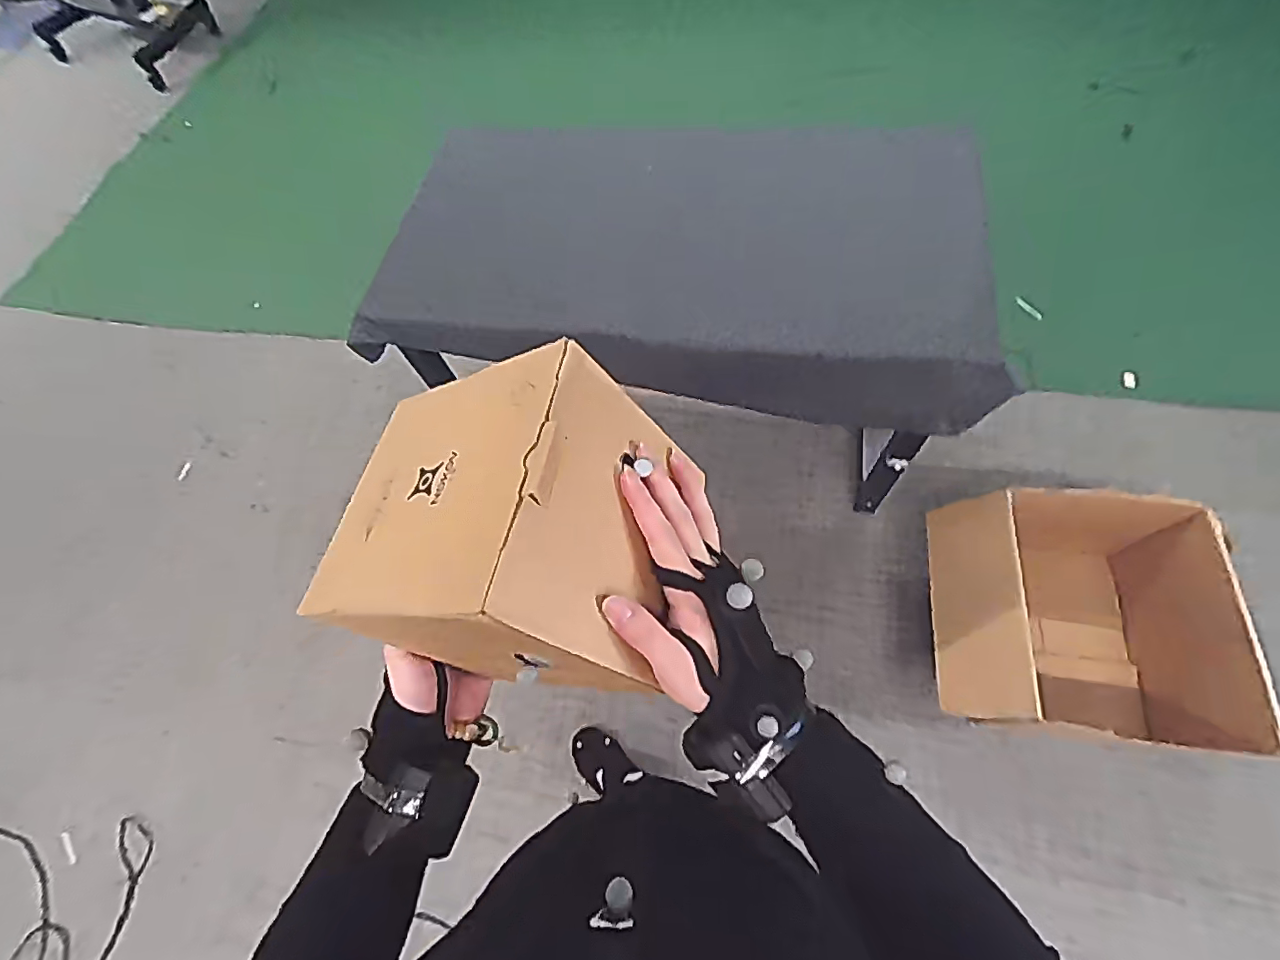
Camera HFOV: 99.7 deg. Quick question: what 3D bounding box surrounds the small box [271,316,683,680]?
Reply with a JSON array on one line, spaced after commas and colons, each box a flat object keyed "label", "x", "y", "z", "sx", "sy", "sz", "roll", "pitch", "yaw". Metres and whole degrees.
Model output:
[{"label": "small box", "x": -0.089, "y": 0.029, "z": 0.363, "sx": 0.179, "sy": 0.176, "sz": 0.168, "roll": -11, "pitch": 54, "yaw": 34}]
